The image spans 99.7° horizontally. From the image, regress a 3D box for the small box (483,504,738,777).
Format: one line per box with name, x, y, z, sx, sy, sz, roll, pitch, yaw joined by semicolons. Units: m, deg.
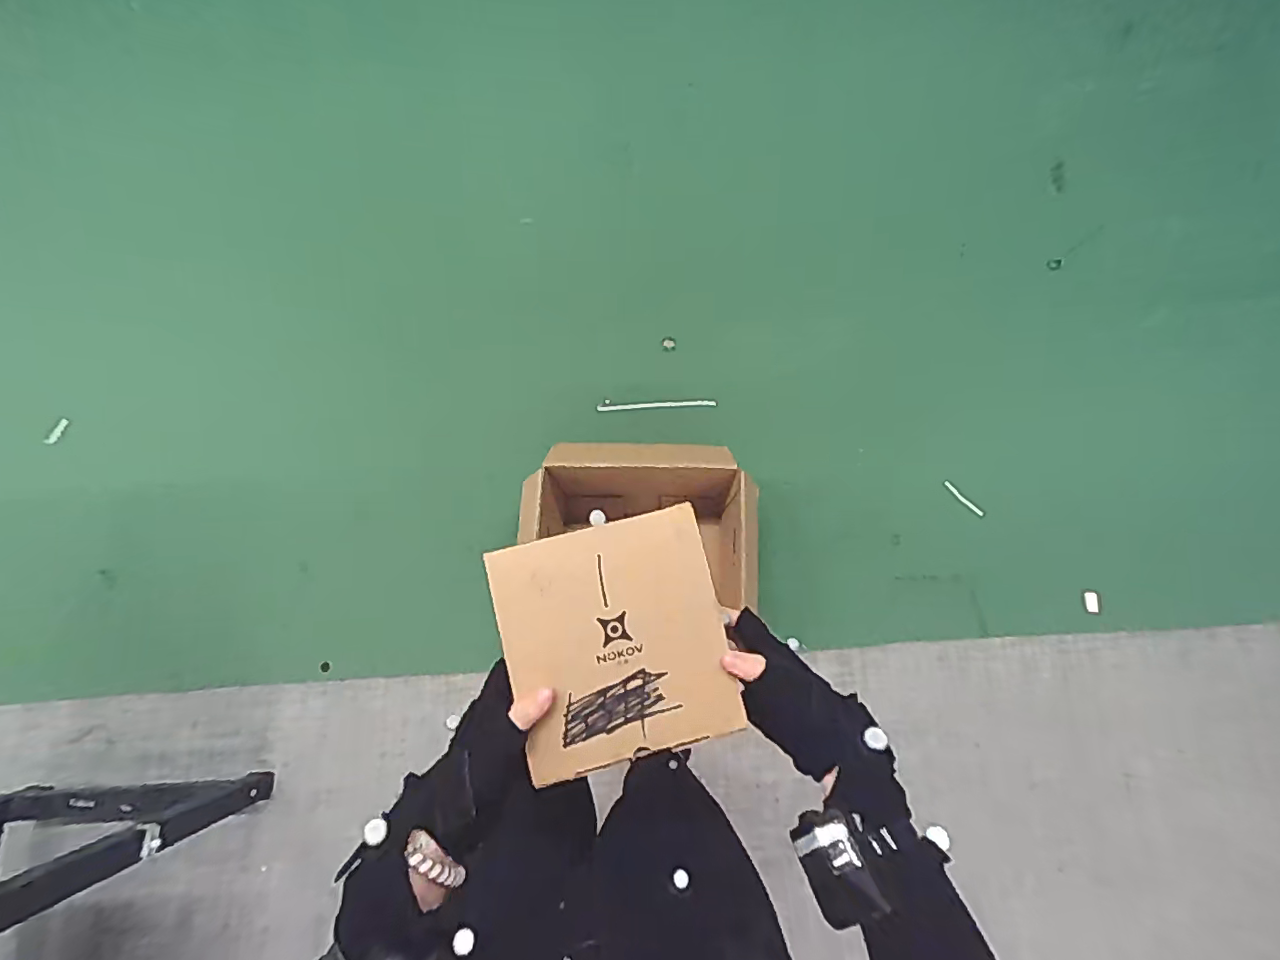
small box;-0.025;0.126;0.486;0.168;0.176;0.179;-13;84;-5
